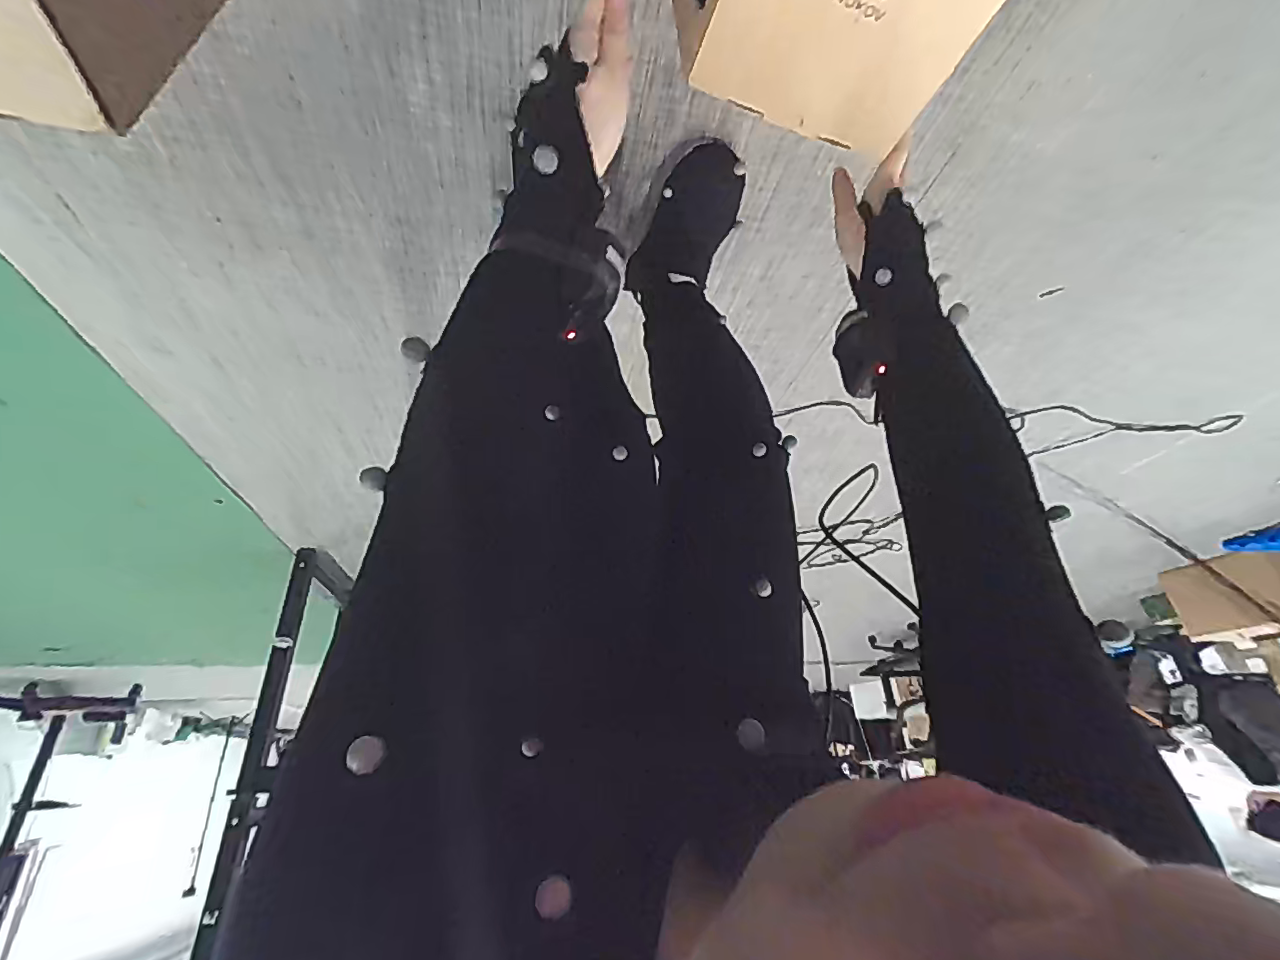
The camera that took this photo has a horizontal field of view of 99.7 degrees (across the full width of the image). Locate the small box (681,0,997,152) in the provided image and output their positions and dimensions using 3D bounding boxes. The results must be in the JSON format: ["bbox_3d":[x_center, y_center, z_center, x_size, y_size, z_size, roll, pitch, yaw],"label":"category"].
[{"bbox_3d":[0.128,-0.362,0.342,0.168,0.176,0.179,7,151,-18],"label":"small box"}]

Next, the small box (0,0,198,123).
[{"bbox_3d":[-0.266,-0.255,0.157,0.168,0.176,0.179,5,151,-11],"label":"small box"}]
